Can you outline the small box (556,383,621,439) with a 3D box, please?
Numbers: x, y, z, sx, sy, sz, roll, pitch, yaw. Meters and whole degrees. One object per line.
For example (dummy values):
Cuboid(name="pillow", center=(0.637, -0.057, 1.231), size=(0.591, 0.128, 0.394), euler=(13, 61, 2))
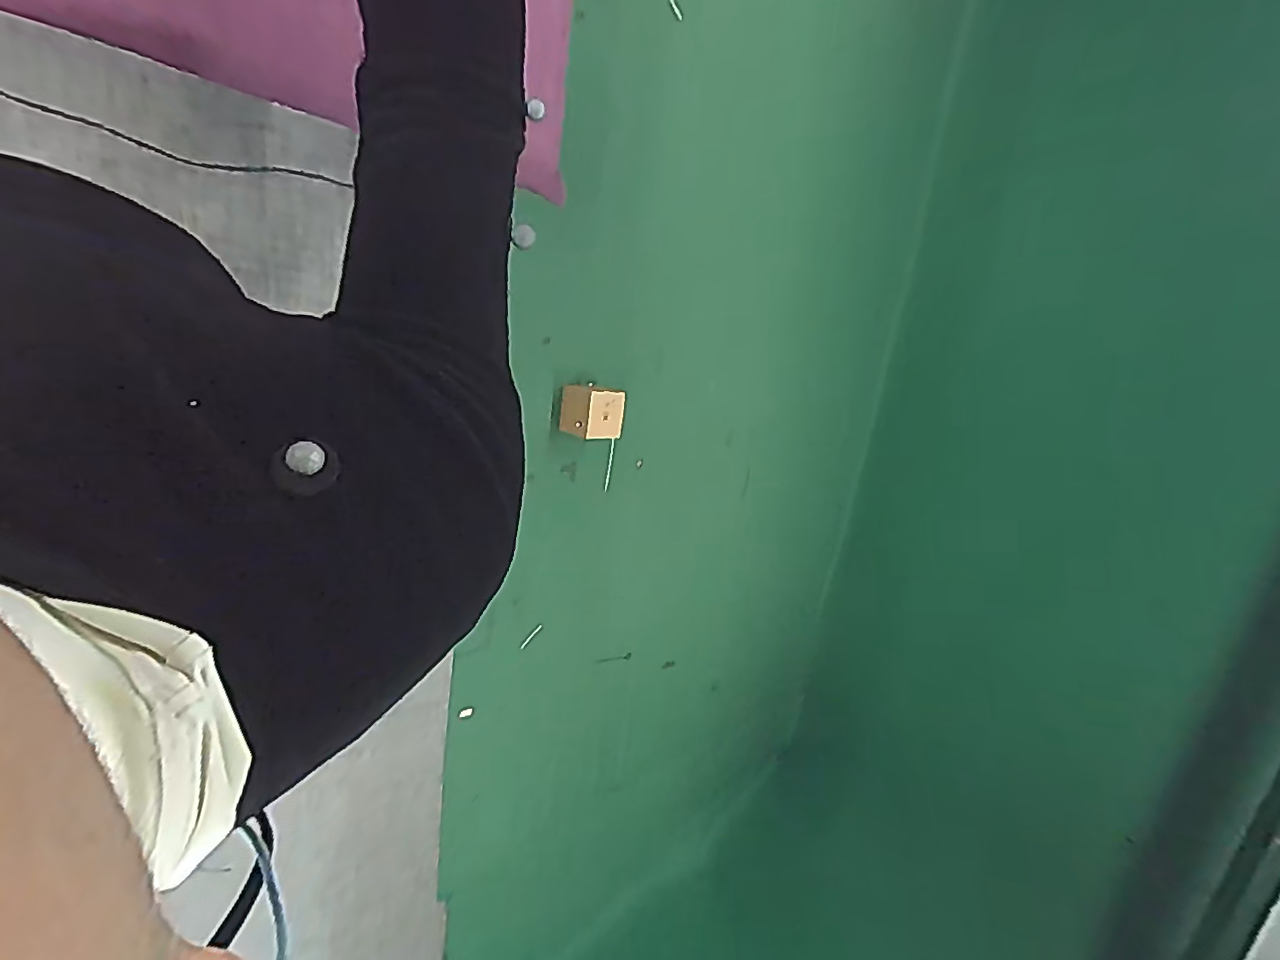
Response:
Cuboid(name="small box", center=(-0.196, -0.258, 2.021), size=(0.168, 0.176, 0.179), euler=(-6, 110, -44))
